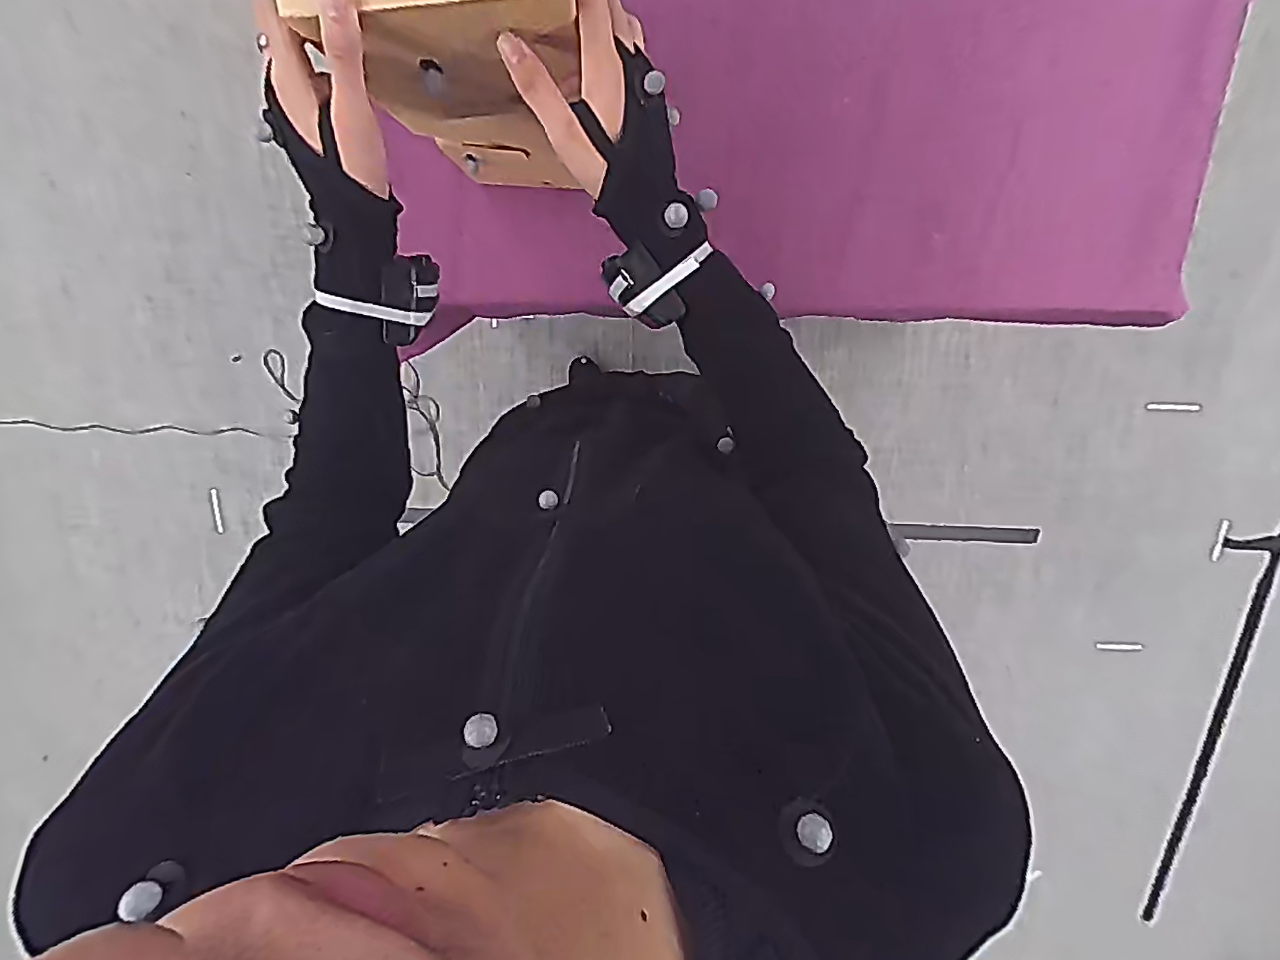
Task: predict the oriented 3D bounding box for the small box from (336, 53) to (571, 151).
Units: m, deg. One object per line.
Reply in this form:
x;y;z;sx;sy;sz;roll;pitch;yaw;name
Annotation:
-0.157;-0.436;0.510;0.179;0.176;0.168;8;105;-3;small box

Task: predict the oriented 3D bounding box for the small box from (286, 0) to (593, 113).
-0.126;-0.371;0.360;0.168;0.176;0.179;-5;105;1;small box
